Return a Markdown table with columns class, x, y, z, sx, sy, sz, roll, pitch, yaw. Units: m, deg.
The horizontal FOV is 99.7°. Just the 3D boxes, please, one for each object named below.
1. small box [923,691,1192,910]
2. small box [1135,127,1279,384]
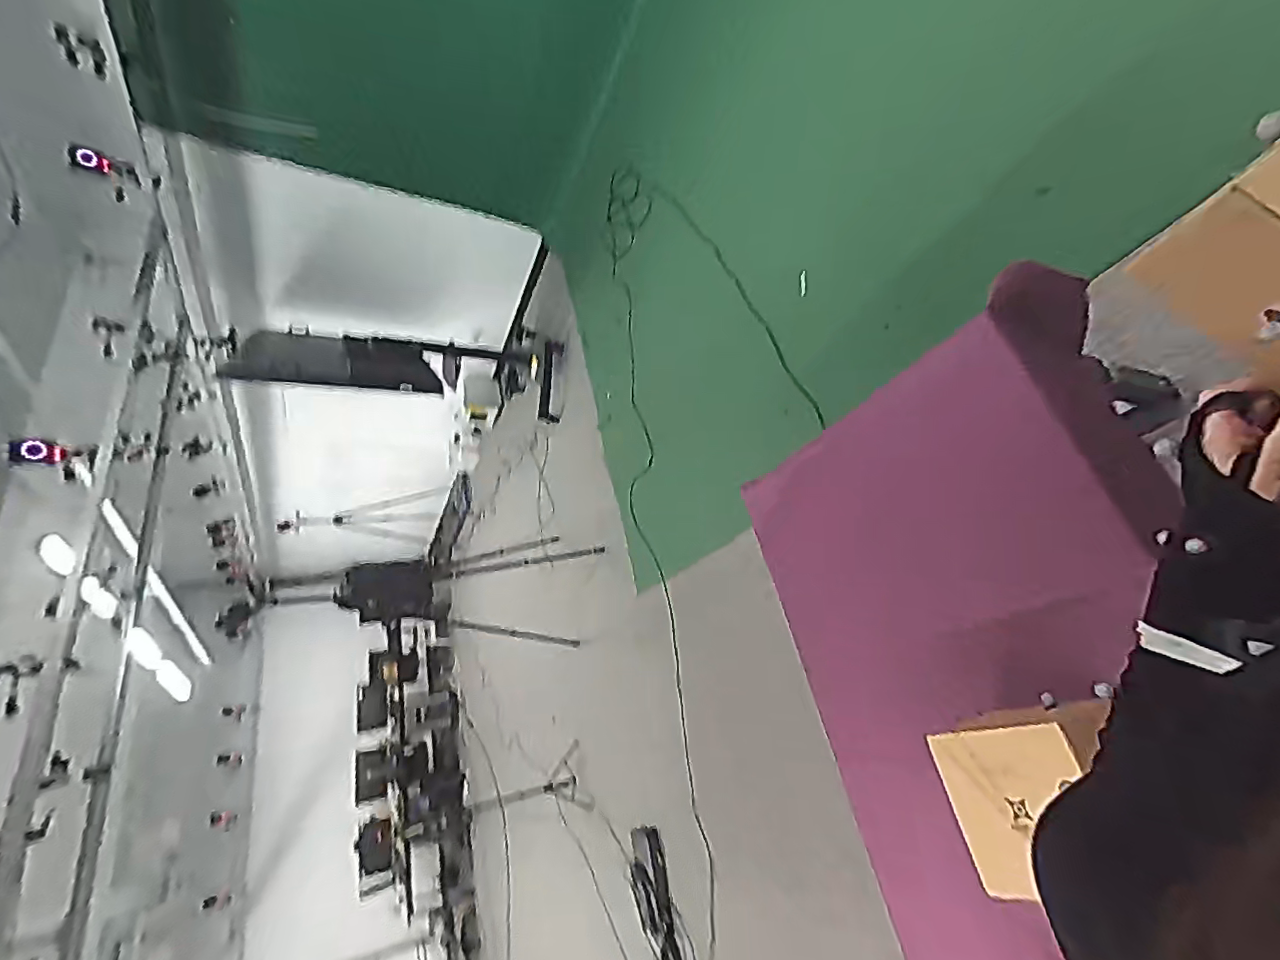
| class | x | y | z | sx | sy | sz | roll | pitch | yaw |
| --- | --- | --- | --- | --- | --- | --- | --- | --- | --- |
| small box | 0.492 | 0.367 | 0.647 | 0.168 | 0.176 | 0.179 | -44 | 51 | 50 |
| small box | 0.436 | -0.148 | 0.288 | 0.168 | 0.176 | 0.179 | -44 | 75 | 24 |
